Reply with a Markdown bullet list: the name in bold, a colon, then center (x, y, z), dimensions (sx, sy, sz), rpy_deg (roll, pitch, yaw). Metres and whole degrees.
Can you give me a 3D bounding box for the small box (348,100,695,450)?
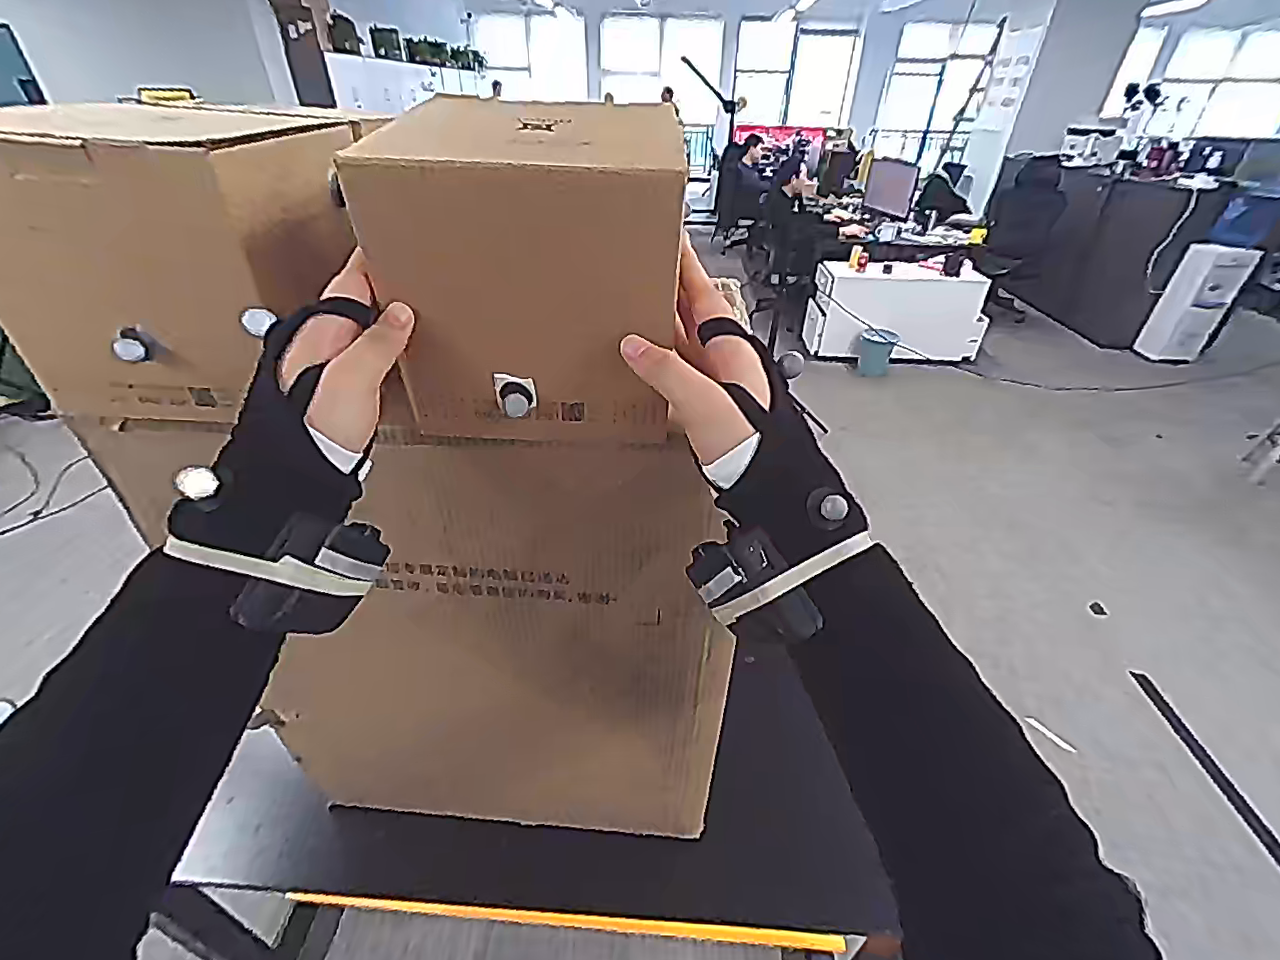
- **small box**: center (-0.058, -0.140, 0.365), dimensions (0.168, 0.176, 0.179), rpy_deg (0, 43, -1)
